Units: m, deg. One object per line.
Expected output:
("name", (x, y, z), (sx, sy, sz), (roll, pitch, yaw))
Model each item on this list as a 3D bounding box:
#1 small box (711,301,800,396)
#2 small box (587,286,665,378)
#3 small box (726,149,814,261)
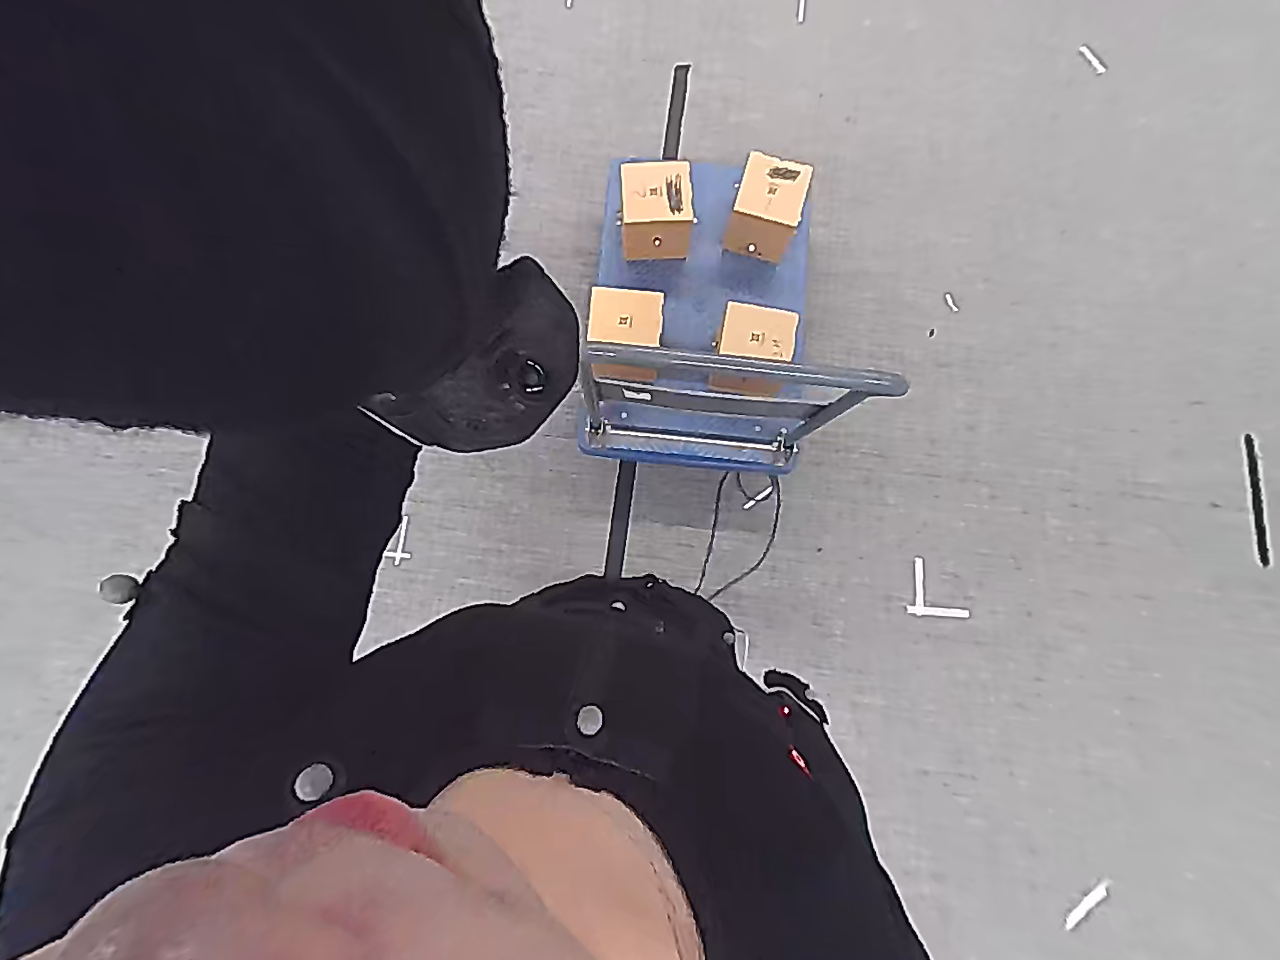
("small box", (0.281, -0.323, 1.355), (0.179, 0.176, 0.168), (11, 81, 1))
("small box", (-0.034, -0.365, 1.358), (0.179, 0.176, 0.168), (5, 80, -2))
("small box", (0.334, -0.716, 1.422), (0.168, 0.176, 0.179), (17, 82, 2))
